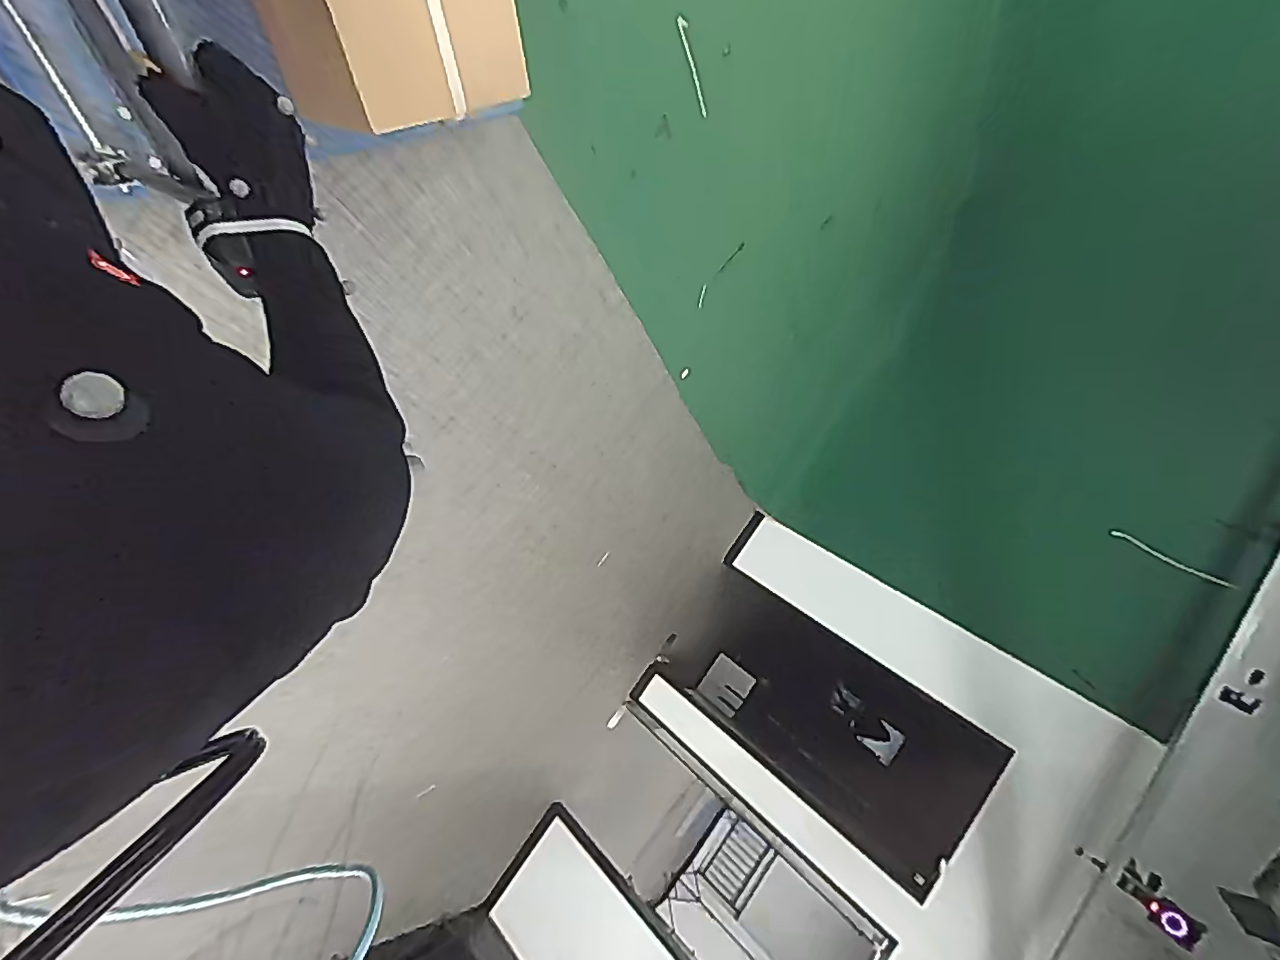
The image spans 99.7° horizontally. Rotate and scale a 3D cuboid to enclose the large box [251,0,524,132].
[{"bbox_3d":[-0.443,-0.836,0.869,0.320,0.320,0.408,-38,142,-29],"label":"large box"}]
